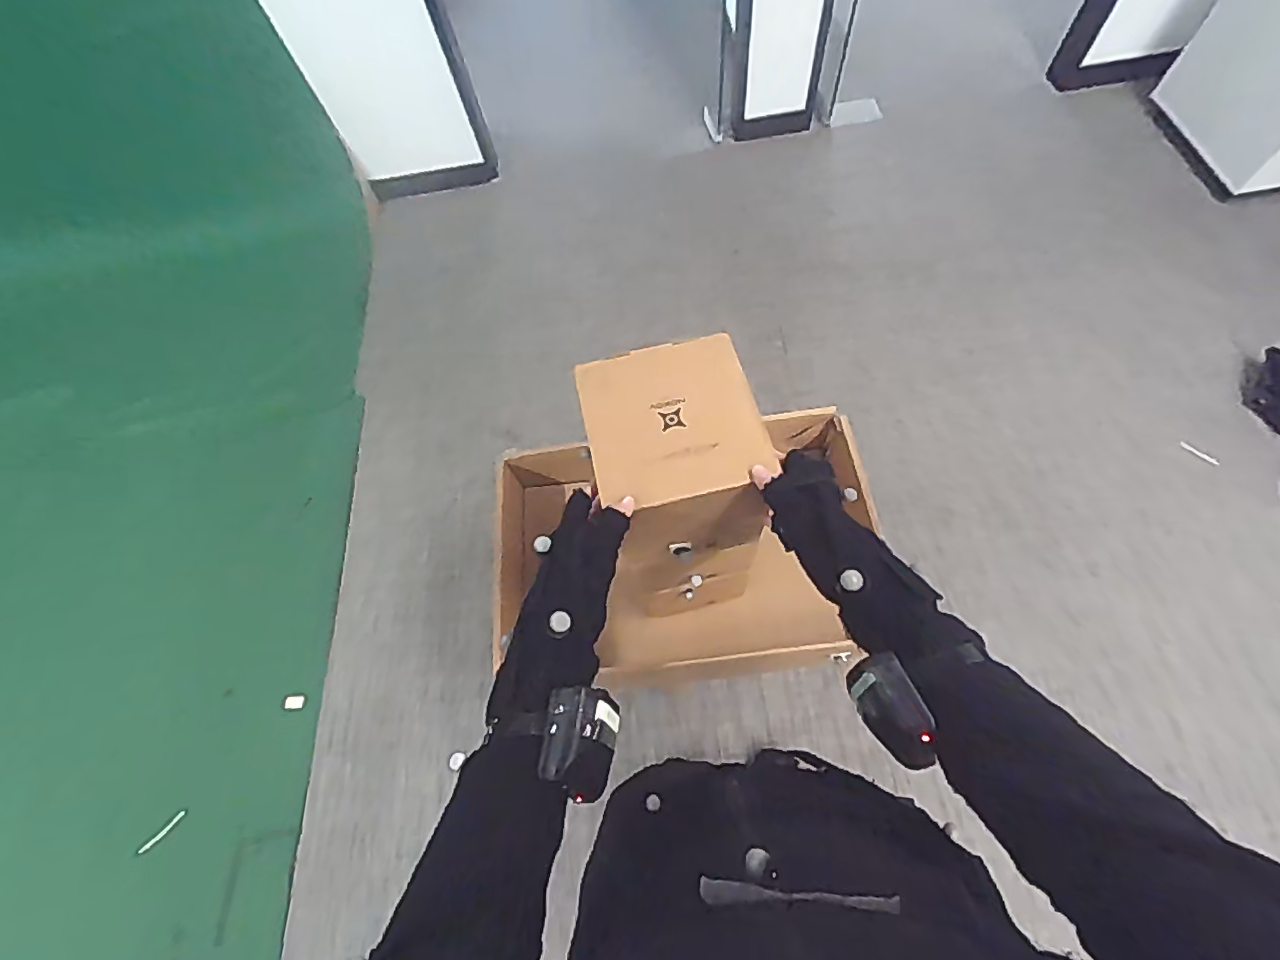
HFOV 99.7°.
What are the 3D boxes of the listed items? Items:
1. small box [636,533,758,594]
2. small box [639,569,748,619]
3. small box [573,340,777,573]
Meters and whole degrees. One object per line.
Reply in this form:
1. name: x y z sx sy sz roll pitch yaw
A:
1. small box: 0.059 0.046 0.774 0.168 0.176 0.179 -13 65 1
2. small box: 0.076 0.119 0.920 0.168 0.176 0.179 -14 63 1
3. small box: 0.032 -0.018 0.591 0.168 0.176 0.179 -14 64 -2
